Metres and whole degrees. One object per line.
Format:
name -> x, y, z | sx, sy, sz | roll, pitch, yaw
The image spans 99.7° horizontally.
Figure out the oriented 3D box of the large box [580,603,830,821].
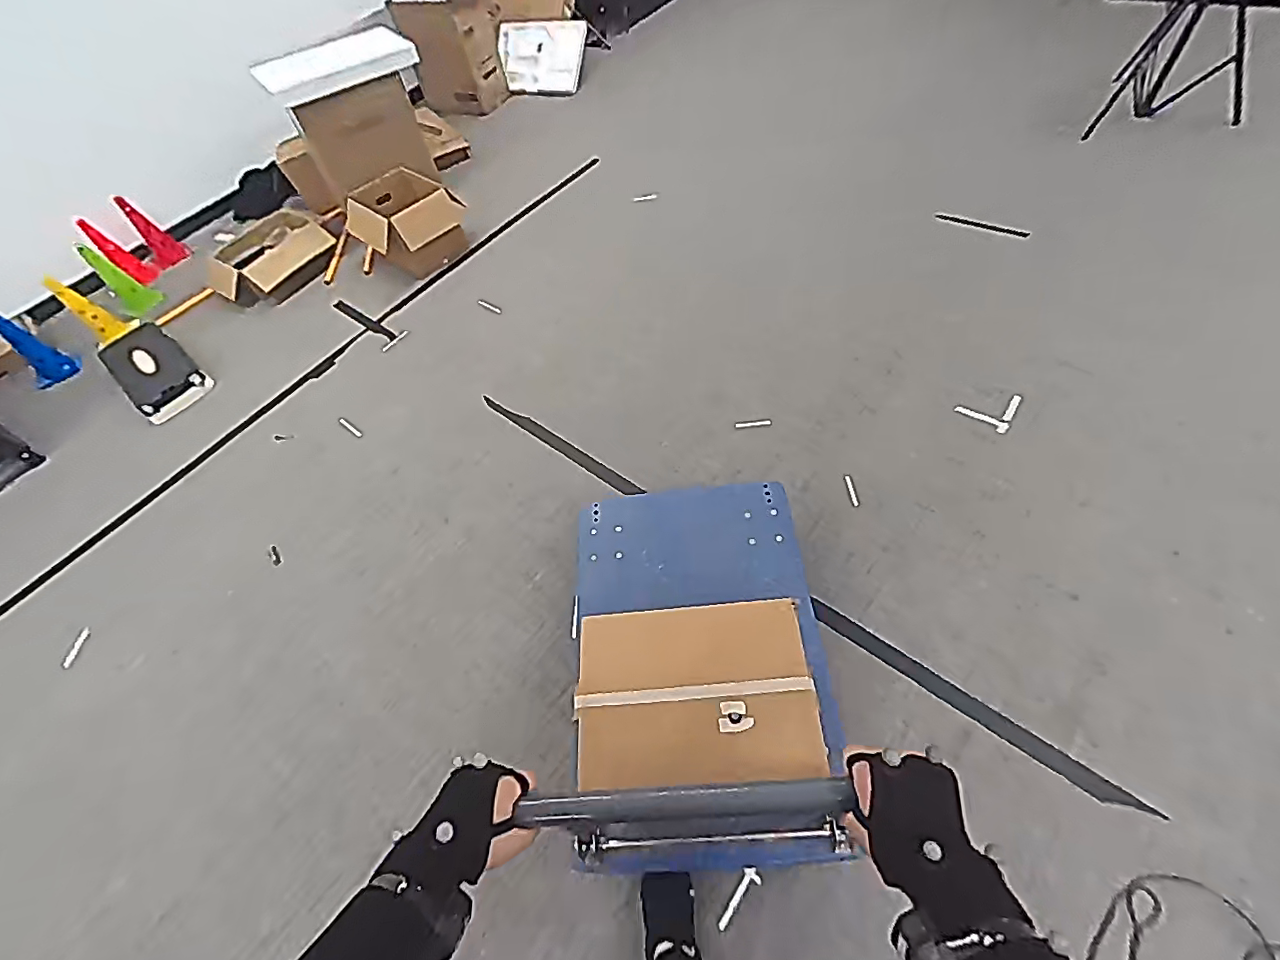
large box -> 0.110, 0.461, 1.053 | 0.408, 0.320, 0.320 | -6, 55, 5
